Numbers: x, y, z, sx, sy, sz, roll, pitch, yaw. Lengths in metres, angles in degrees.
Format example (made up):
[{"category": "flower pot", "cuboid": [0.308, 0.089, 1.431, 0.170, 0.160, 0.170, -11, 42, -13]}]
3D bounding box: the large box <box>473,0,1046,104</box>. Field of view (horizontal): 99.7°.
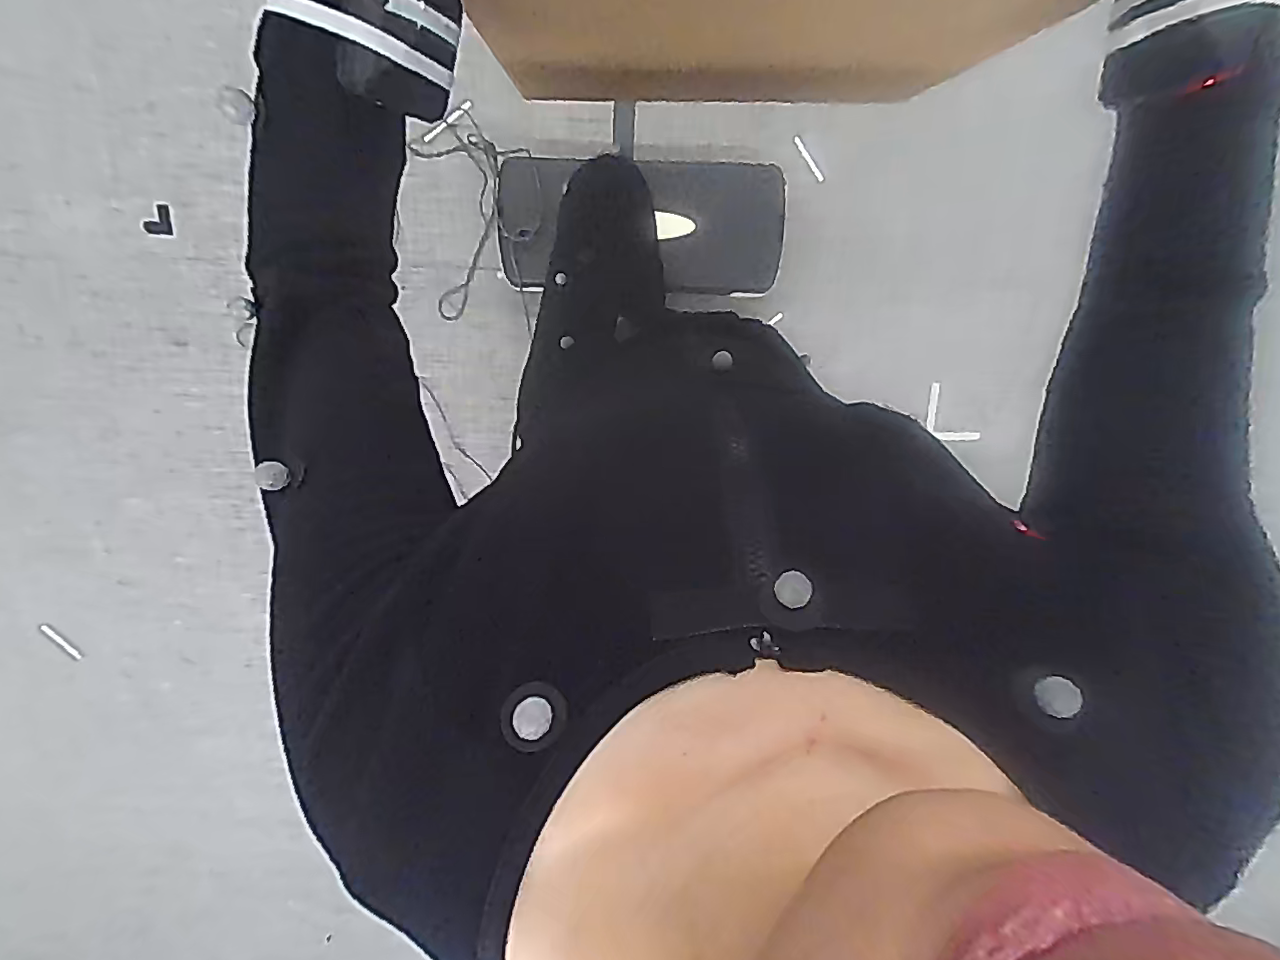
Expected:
[{"category": "large box", "cuboid": [0.079, -0.486, 0.375, 0.408, 0.320, 0.320, -1, 113, -2]}]
